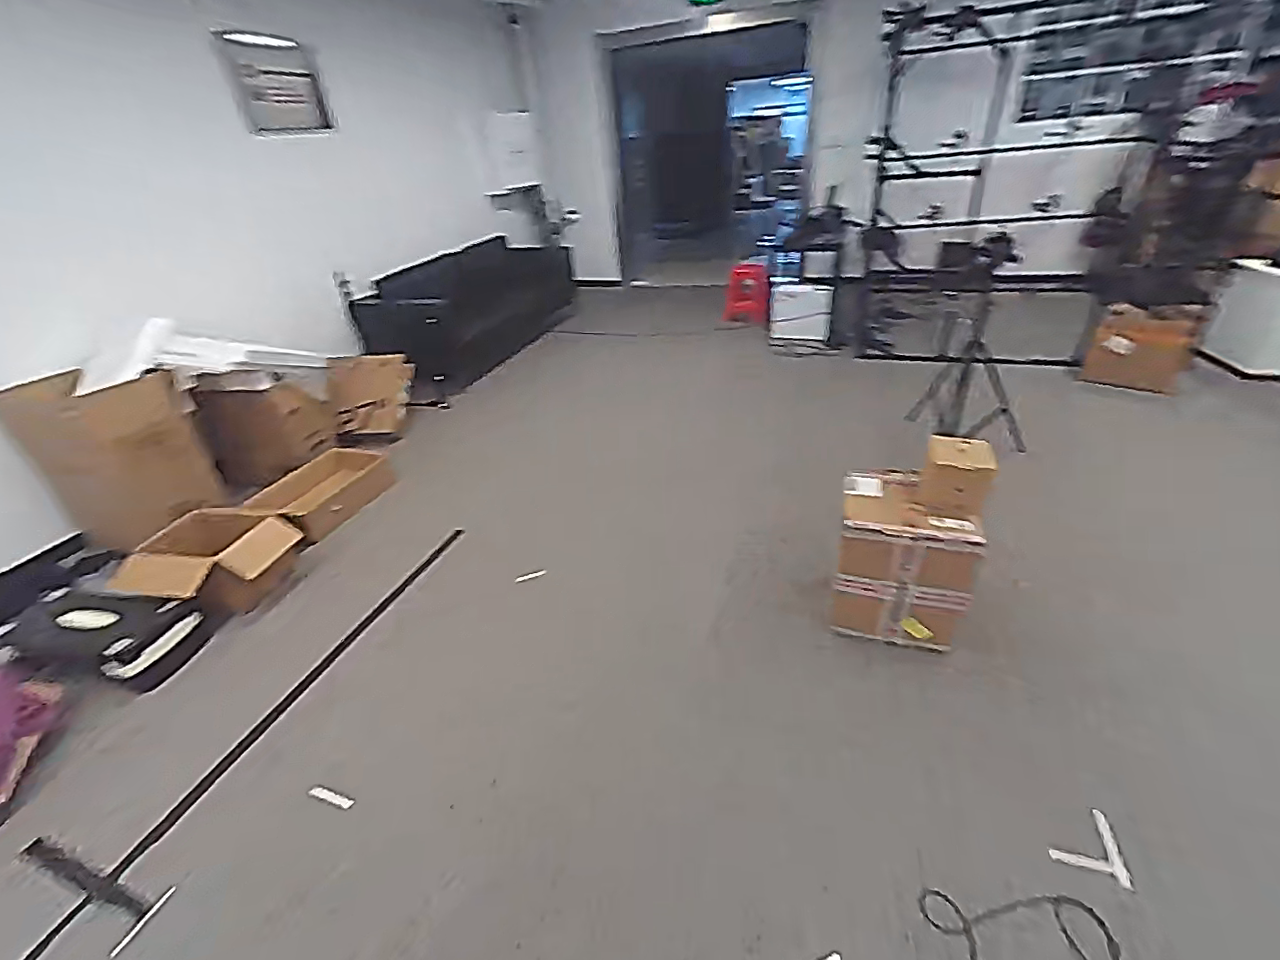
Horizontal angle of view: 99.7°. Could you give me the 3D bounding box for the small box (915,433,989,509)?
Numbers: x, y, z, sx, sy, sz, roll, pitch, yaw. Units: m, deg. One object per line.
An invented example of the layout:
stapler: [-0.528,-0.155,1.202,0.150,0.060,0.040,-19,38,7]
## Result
small box: [0.989,-0.028,1.725,0.168,0.176,0.179,8,37,17]
